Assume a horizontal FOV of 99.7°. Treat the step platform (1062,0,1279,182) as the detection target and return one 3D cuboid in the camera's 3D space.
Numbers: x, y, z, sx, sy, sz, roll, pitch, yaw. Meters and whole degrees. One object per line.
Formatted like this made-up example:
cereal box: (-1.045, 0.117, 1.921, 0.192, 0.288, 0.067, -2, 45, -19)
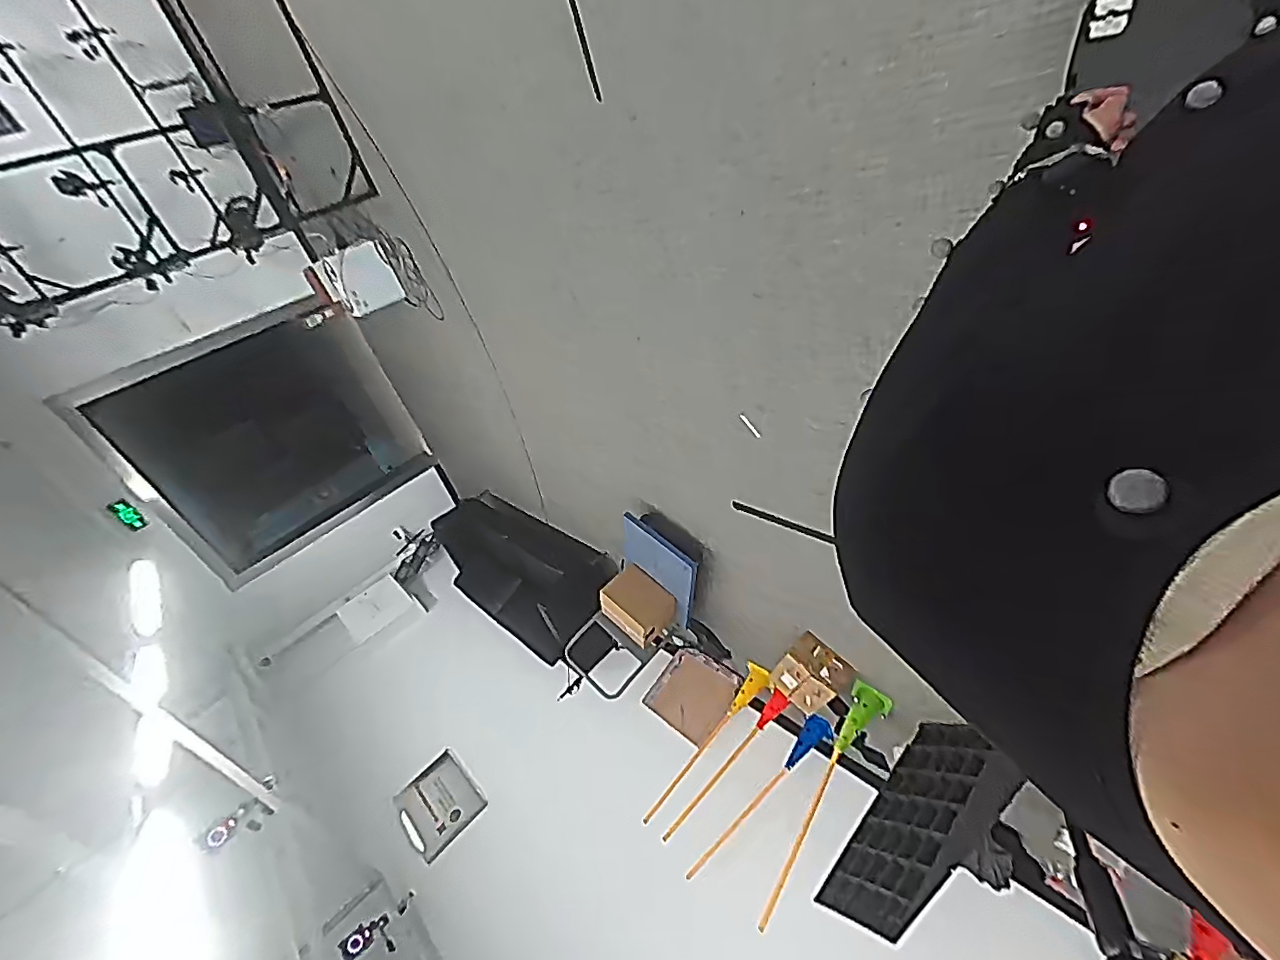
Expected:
step platform: (1.063, -0.623, 0.800, 0.684, 0.204, 0.286, 26, 141, 42)
